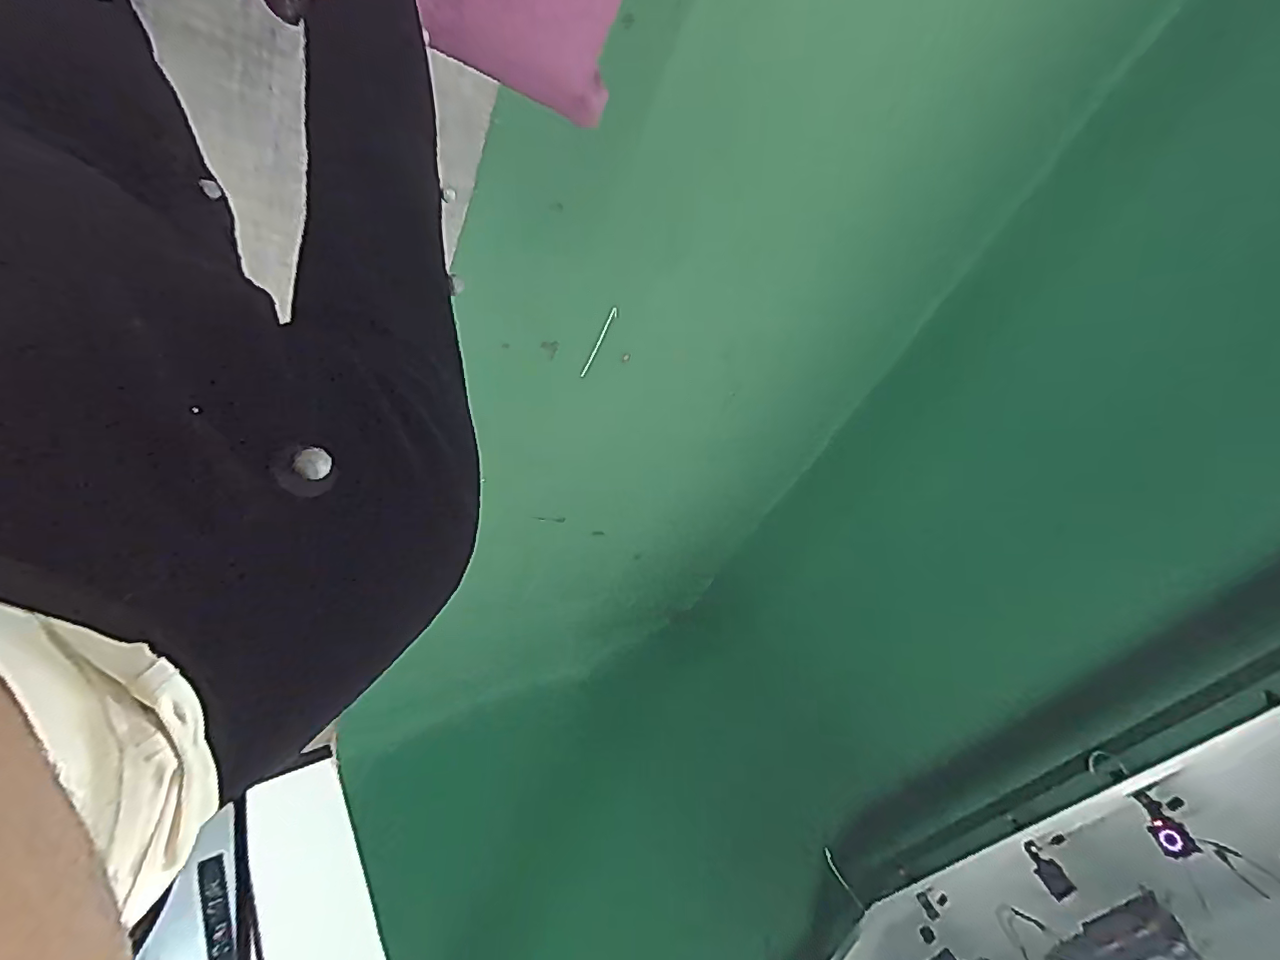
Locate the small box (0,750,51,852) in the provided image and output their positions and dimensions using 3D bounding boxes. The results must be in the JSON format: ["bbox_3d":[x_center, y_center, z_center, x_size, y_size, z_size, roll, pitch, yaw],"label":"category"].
[{"bbox_3d":[-1.558,0.783,1.310,0.168,0.176,0.179,4,130,-48],"label":"small box"}]

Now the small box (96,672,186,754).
[{"bbox_3d":[-1.479,0.694,1.601,0.179,0.176,0.168,5,129,-49],"label":"small box"}]

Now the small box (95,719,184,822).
[{"bbox_3d":[-1.397,0.802,1.509,0.168,0.176,0.179,5,129,-48],"label":"small box"}]
